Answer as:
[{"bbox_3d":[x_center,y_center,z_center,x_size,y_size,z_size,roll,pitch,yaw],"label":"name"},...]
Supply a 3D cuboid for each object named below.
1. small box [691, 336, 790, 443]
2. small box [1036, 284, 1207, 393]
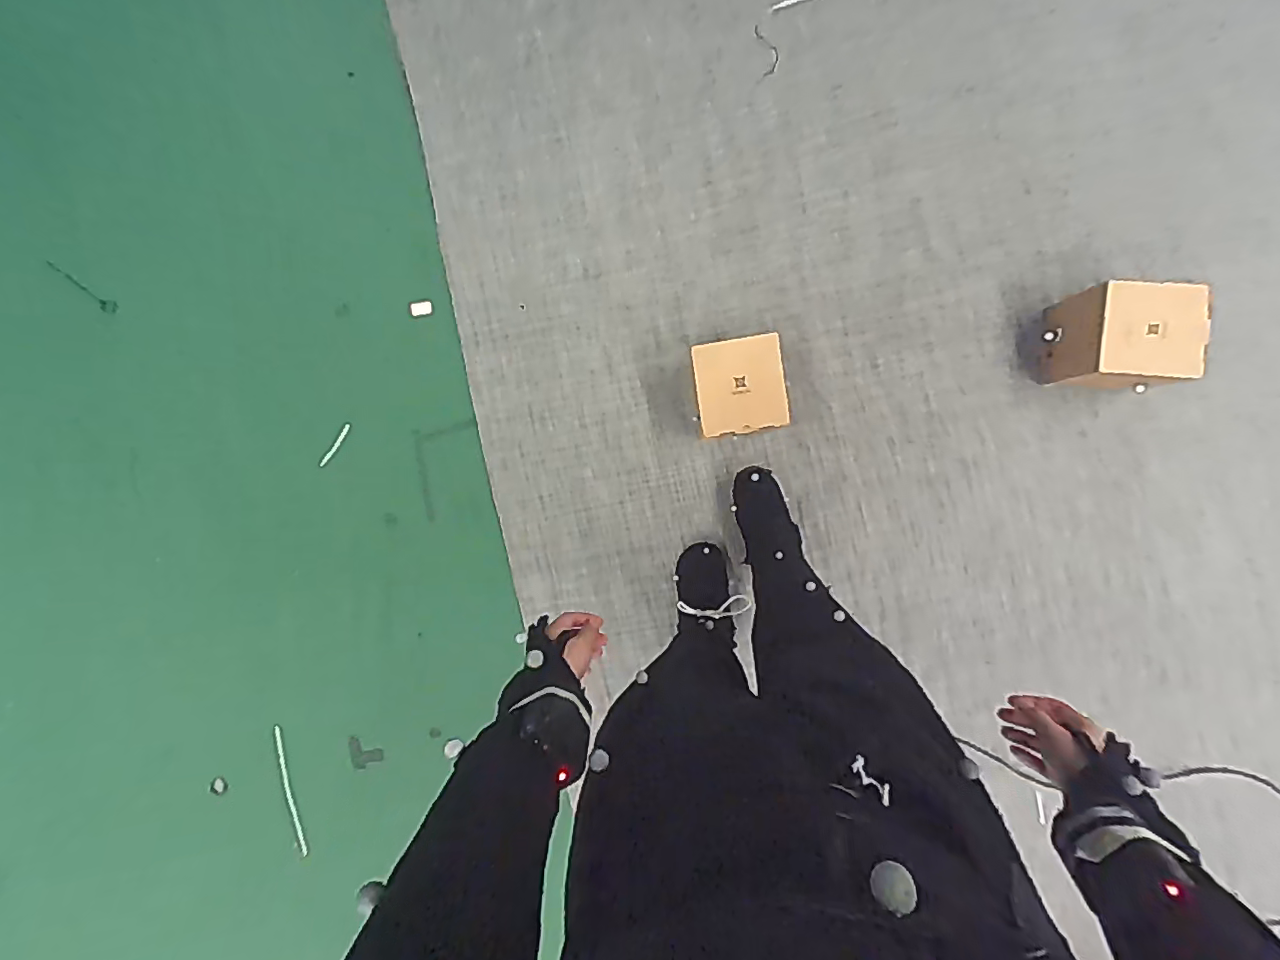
[{"bbox_3d":[0.195,-0.175,1.094,0.168,0.176,0.179,-9,91,5],"label":"small box"},{"bbox_3d":[0.908,-0.262,1.034,0.179,0.176,0.168,4,91,5],"label":"small box"}]
